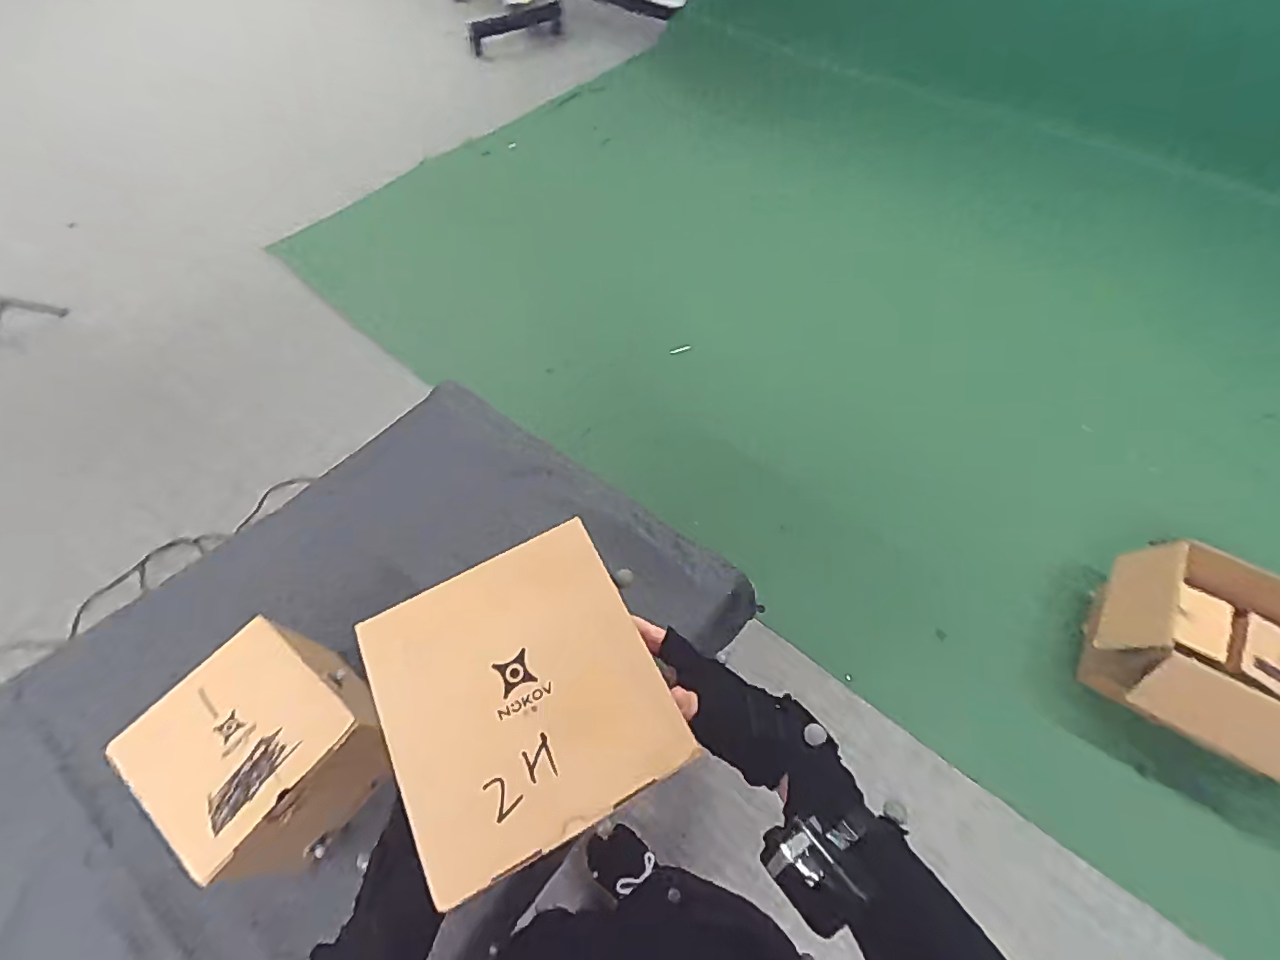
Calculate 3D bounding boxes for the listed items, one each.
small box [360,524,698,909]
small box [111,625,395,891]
[{"bbox_3d":[-0.073,0.167,0.408,0.168,0.176,0.179,-26,66,-10],"label":"small box"},{"bbox_3d":[-0.385,0.292,0.585,0.179,0.176,0.168,32,64,20],"label":"small box"}]
